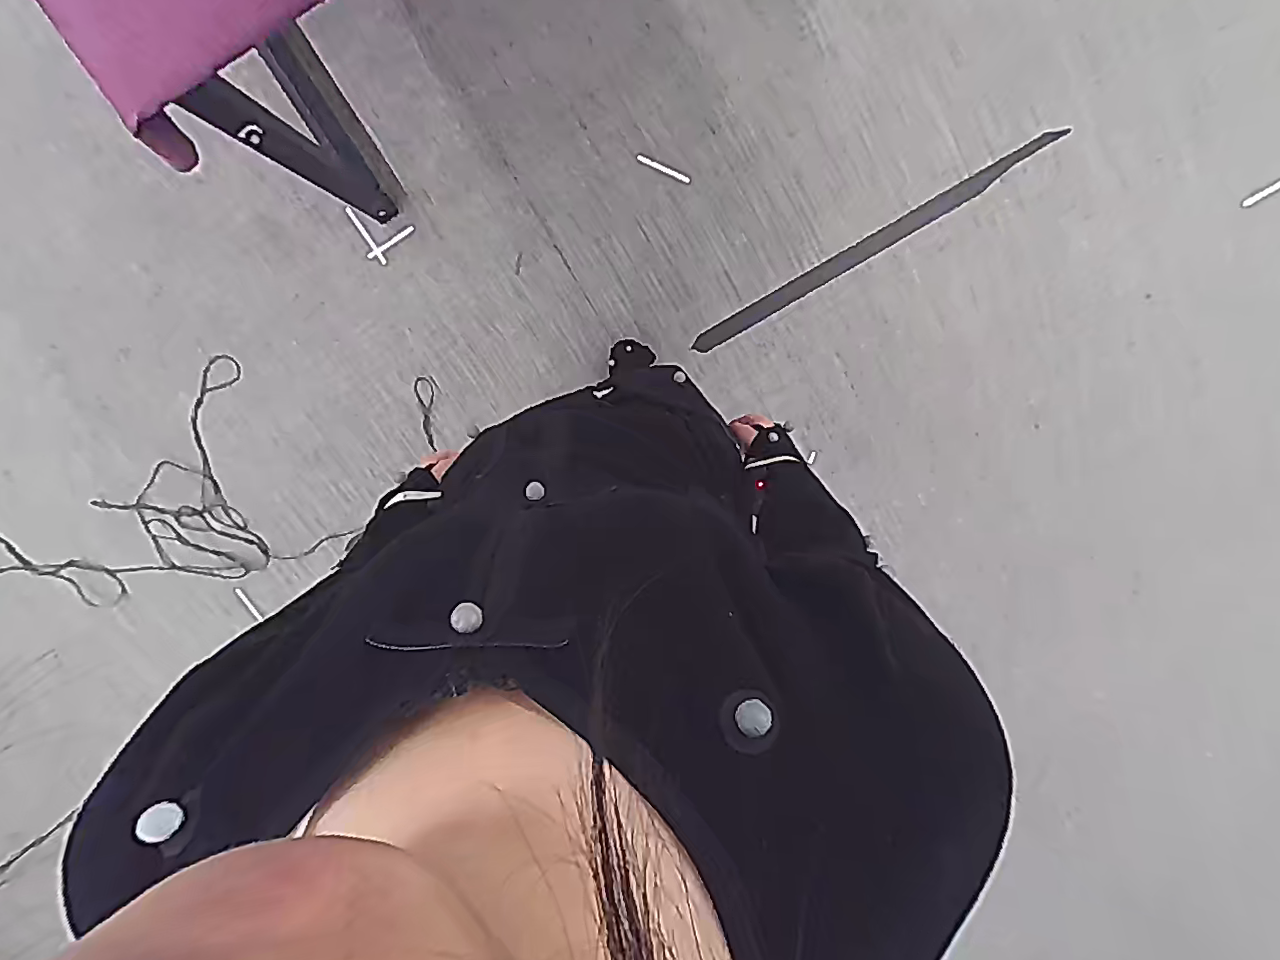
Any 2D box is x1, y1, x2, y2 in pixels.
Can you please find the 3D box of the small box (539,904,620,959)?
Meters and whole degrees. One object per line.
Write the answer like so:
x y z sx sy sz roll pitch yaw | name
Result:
-0.155 1.215 1.351 0.179 0.176 0.168 18 100 -4 | small box
